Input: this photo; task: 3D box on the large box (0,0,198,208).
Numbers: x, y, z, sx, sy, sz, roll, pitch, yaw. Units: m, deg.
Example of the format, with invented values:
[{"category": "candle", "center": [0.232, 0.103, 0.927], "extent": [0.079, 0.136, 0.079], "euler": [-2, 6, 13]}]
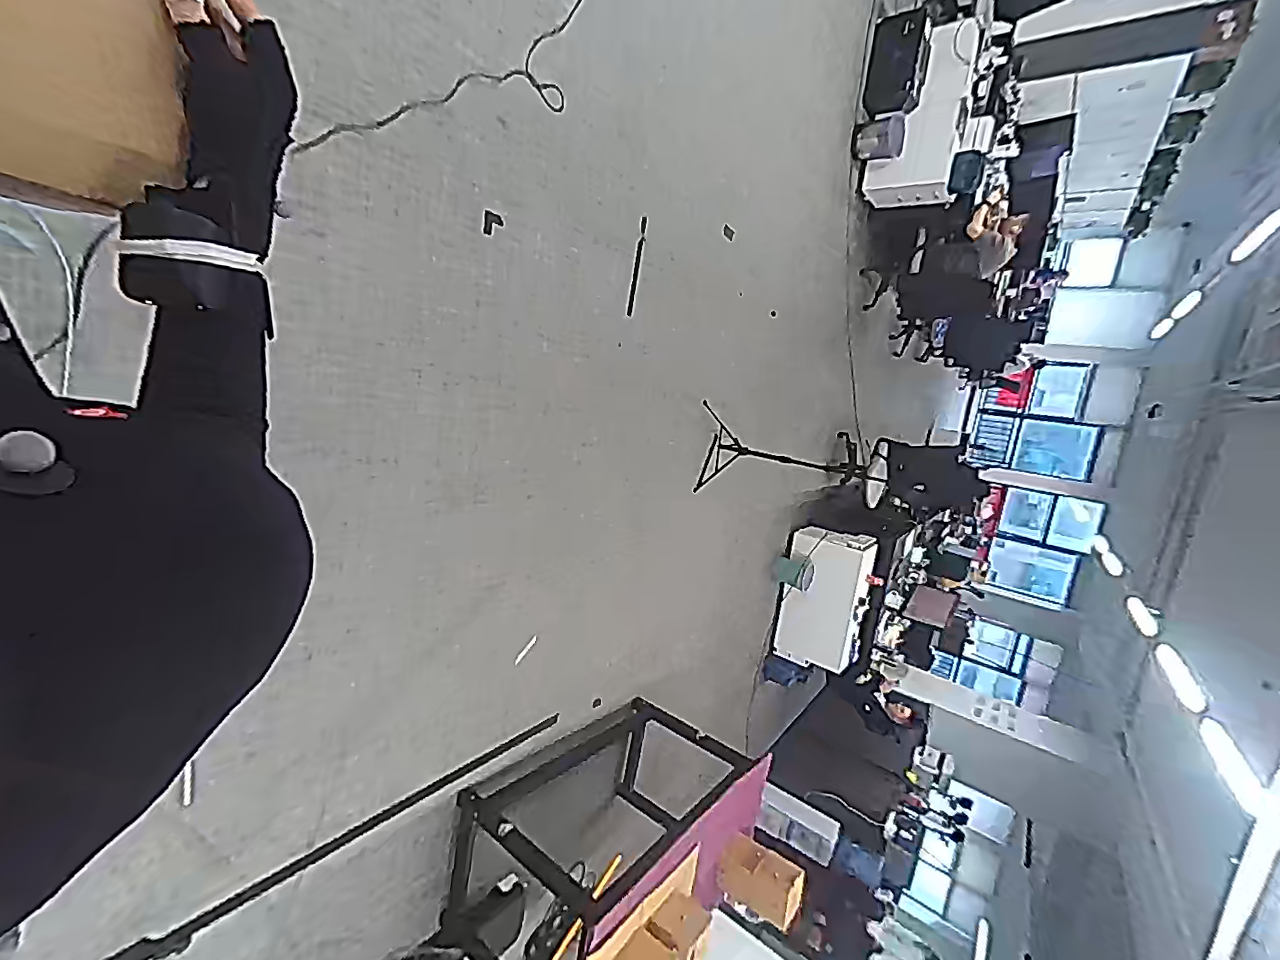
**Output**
[{"category": "large box", "center": [-0.538, -0.380, 0.285], "extent": [0.408, 0.320, 0.320], "euler": [-5, 111, -59]}]
